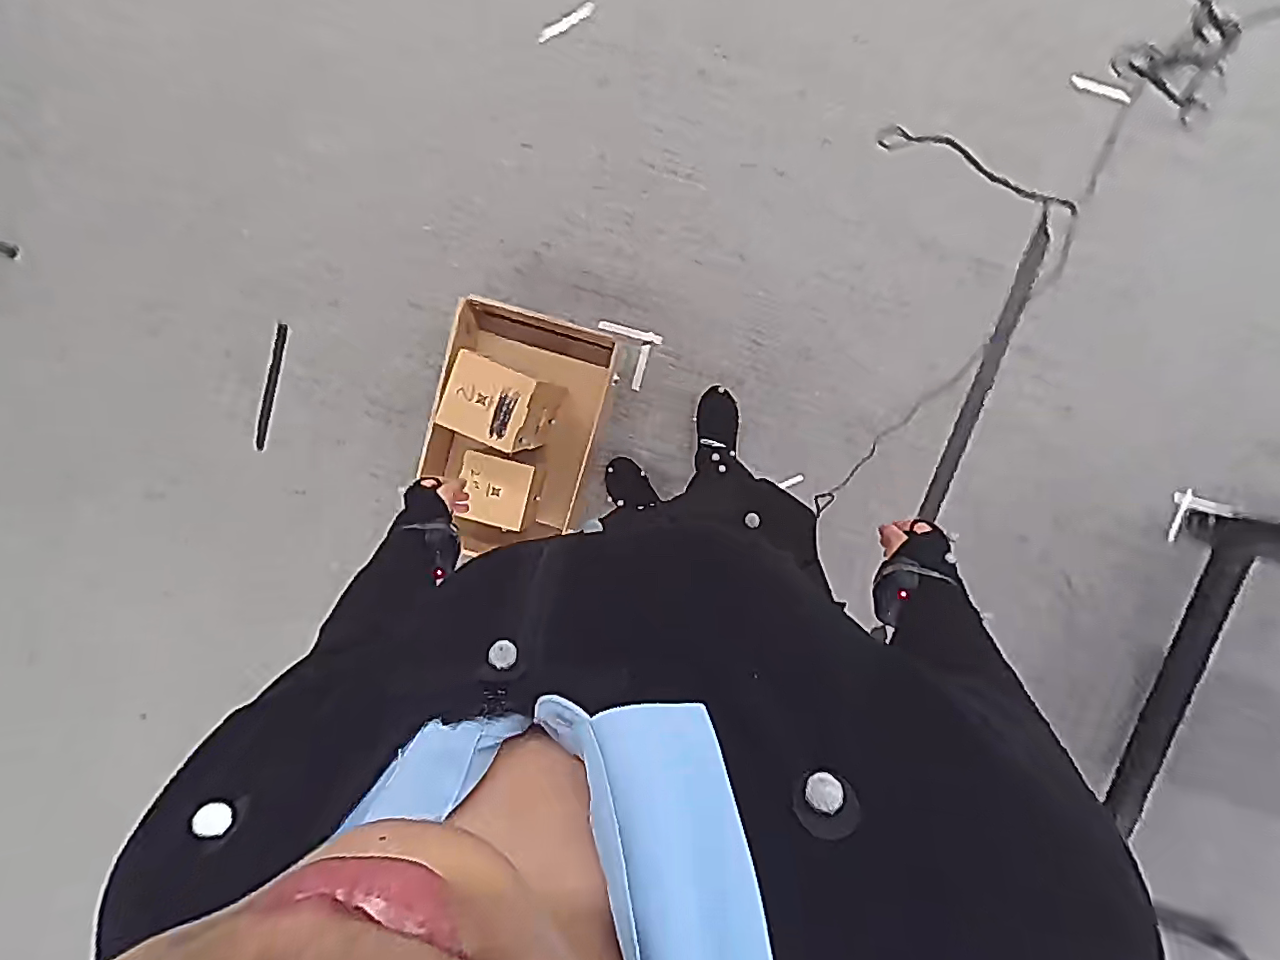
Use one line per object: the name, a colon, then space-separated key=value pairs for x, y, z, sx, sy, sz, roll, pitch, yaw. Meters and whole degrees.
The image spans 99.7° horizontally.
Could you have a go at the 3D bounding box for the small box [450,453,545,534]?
small box: x=-0.354 y=0.026 z=1.381 sx=0.179 sy=0.176 sz=0.168 roll=14 pitch=94 yaw=1

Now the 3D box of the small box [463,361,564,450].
small box: x=-0.311 y=-0.185 z=1.361 sx=0.179 sy=0.176 sz=0.168 roll=21 pitch=99 yaw=0
